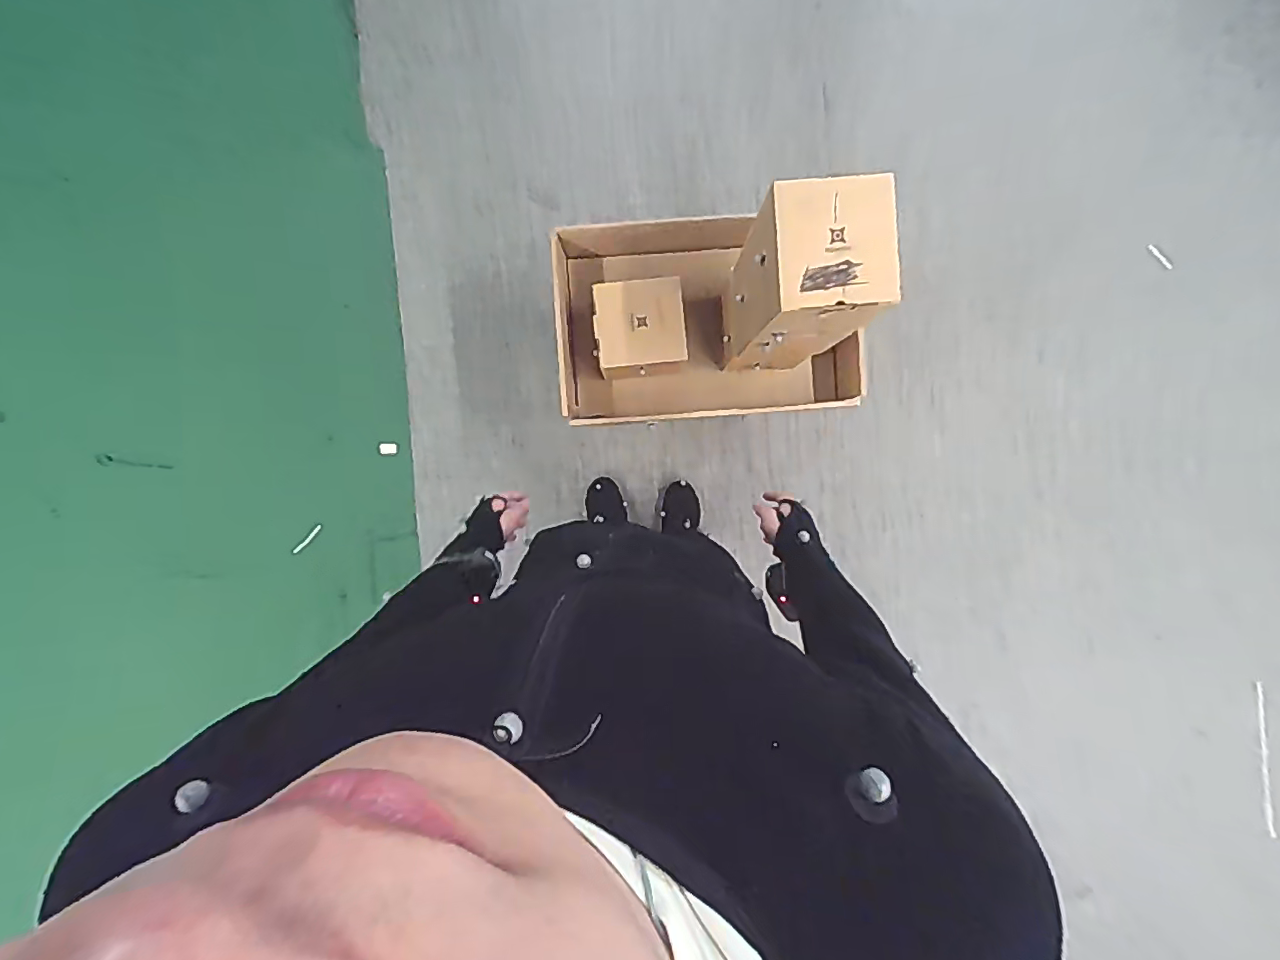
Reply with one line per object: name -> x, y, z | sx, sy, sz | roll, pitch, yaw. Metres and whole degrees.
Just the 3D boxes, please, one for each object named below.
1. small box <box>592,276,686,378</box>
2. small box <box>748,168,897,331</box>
small box -> -0.003, -0.312, 1.133 | 0.179, 0.176, 0.168 | -5, 92, -2
small box -> 0.261, -0.327, 0.804 | 0.168, 0.176, 0.179 | -4, 91, 0
